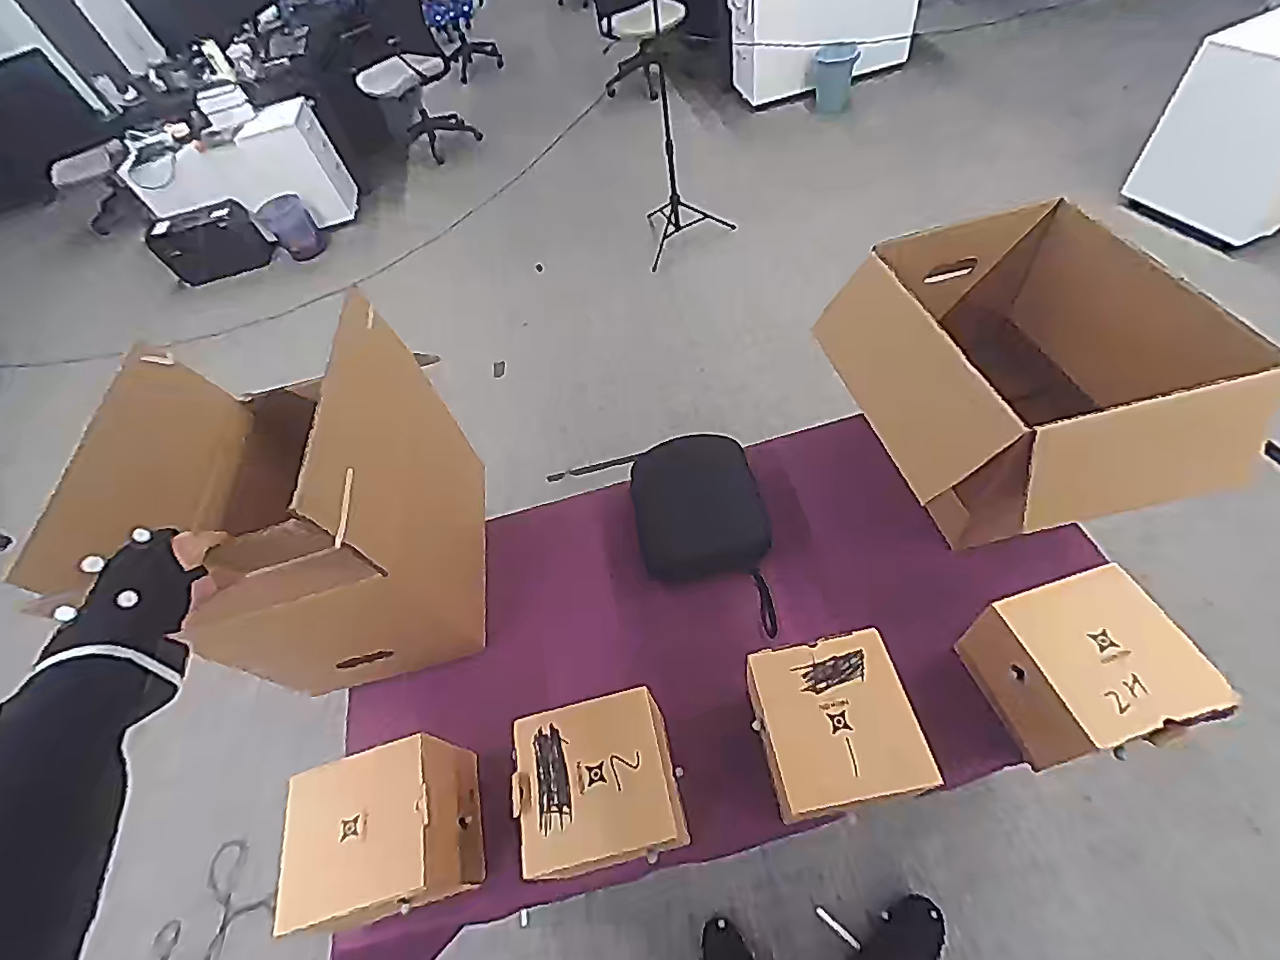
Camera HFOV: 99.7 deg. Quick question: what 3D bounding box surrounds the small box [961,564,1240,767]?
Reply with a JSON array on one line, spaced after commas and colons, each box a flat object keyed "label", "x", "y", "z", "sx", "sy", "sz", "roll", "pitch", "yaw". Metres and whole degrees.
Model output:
[{"label": "small box", "x": 0.545, "y": 0.237, "z": 0.679, "sx": 0.168, "sy": 0.176, "sz": 0.179, "roll": -18, "pitch": 54, "yaw": 0}]

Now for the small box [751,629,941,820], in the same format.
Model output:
[{"label": "small box", "x": 0.241, "y": 0.314, "z": 0.689, "sx": 0.168, "sy": 0.176, "sz": 0.179, "roll": -13, "pitch": 54, "yaw": 3}]

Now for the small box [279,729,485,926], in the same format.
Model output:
[{"label": "small box", "x": -0.323, "y": 0.452, "z": 0.707, "sx": 0.179, "sy": 0.176, "sz": 0.168, "roll": -17, "pitch": 54, "yaw": -2}]
